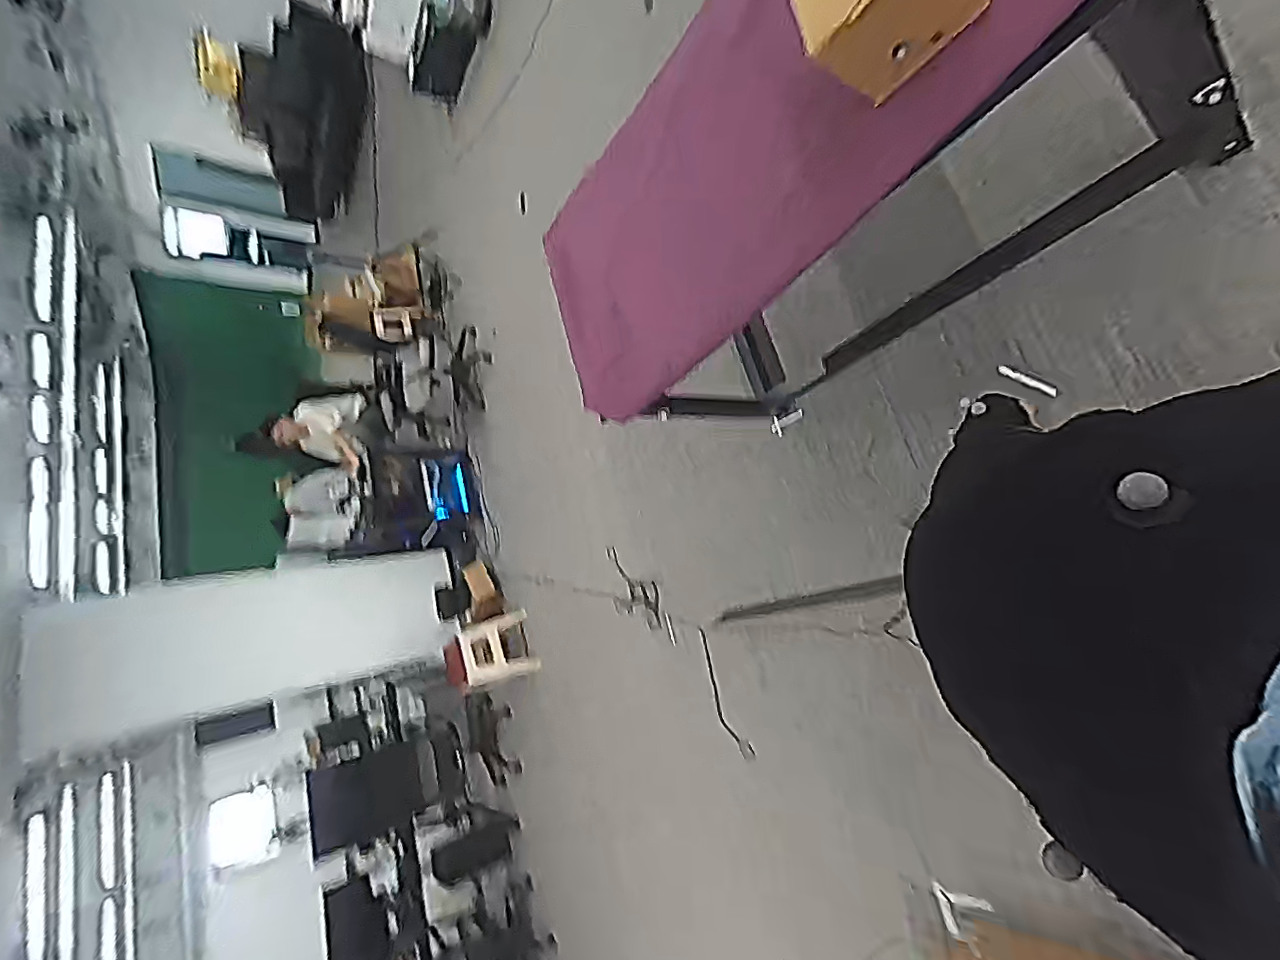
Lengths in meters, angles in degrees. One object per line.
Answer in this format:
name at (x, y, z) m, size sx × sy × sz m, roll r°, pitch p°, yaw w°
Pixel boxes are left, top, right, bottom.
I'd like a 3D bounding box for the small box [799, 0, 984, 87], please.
small box at (0.322, -0.675, 0.711) m, size 0.168 × 0.176 × 0.179 m, roll -25°, pitch 73°, yaw 51°
